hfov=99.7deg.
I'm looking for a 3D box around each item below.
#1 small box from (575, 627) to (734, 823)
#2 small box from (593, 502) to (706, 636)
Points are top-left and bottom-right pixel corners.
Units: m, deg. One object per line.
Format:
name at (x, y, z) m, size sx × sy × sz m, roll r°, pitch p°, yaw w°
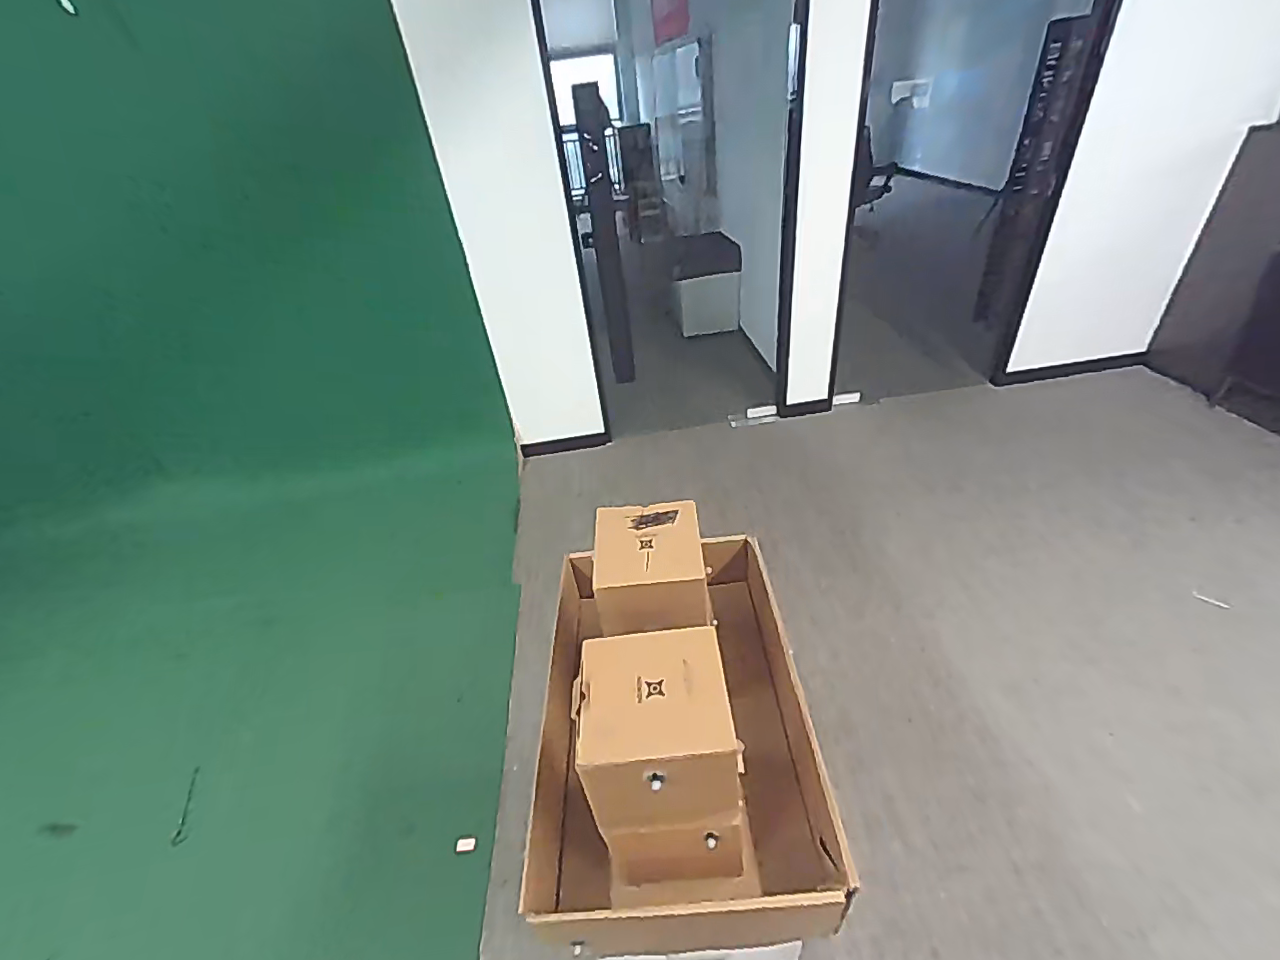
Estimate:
small box at (0.021, 0.313, 0.689) m, size 0.179 × 0.176 × 0.168 m, roll -6°, pitch 37°, yaw 1°
small box at (0.019, 0.158, 0.892) m, size 0.168 × 0.176 × 0.179 m, roll -4°, pitch 39°, yaw 3°
